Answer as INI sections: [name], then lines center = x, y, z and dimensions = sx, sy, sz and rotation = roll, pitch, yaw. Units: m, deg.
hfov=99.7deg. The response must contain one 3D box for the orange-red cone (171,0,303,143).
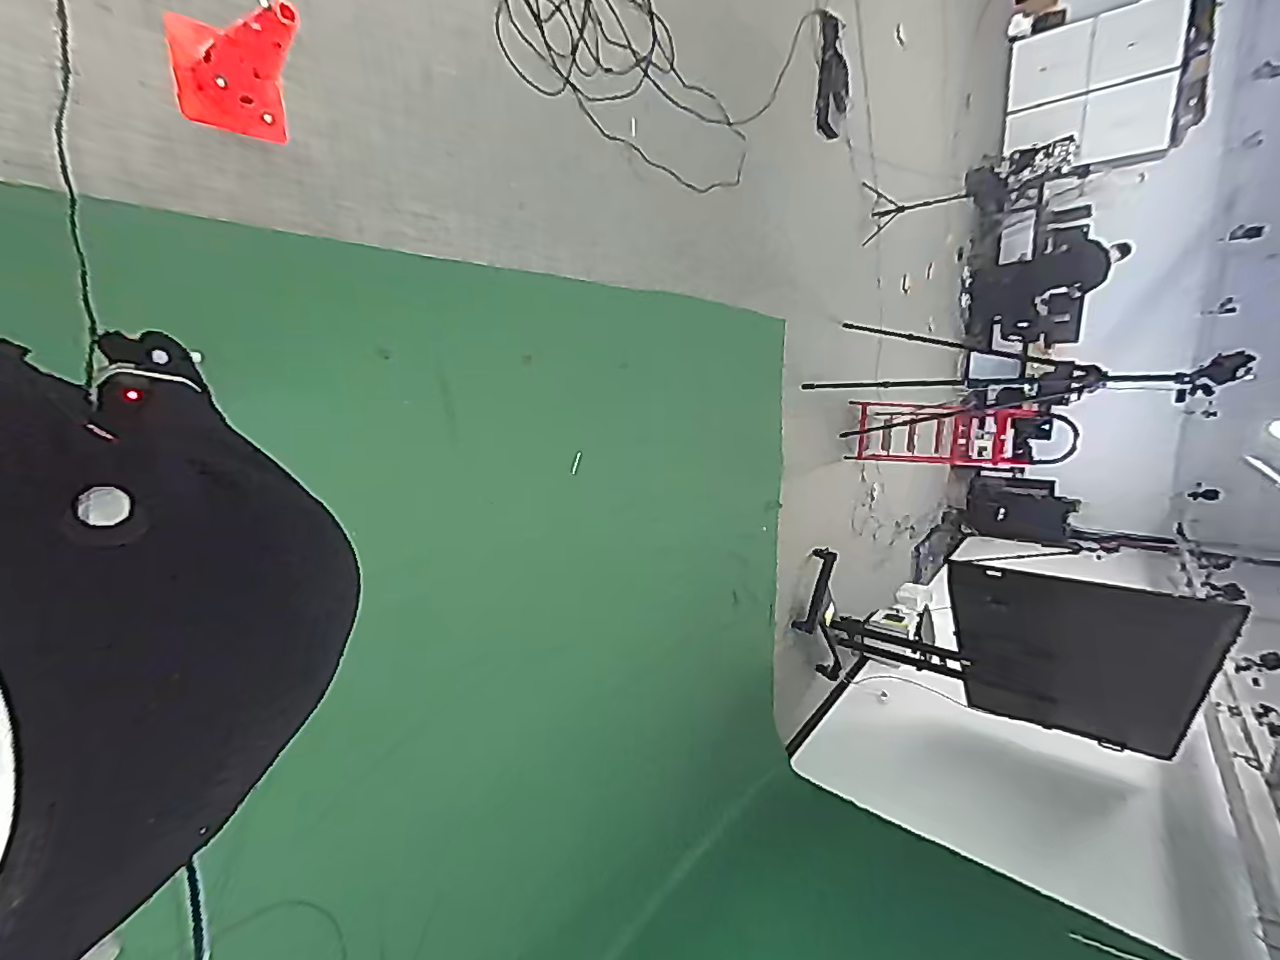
[orange-red cone]
center = -0.756, -0.852, 1.071
dimensions = 0.198, 0.360, 0.199
rotation = -14, 105, -49
